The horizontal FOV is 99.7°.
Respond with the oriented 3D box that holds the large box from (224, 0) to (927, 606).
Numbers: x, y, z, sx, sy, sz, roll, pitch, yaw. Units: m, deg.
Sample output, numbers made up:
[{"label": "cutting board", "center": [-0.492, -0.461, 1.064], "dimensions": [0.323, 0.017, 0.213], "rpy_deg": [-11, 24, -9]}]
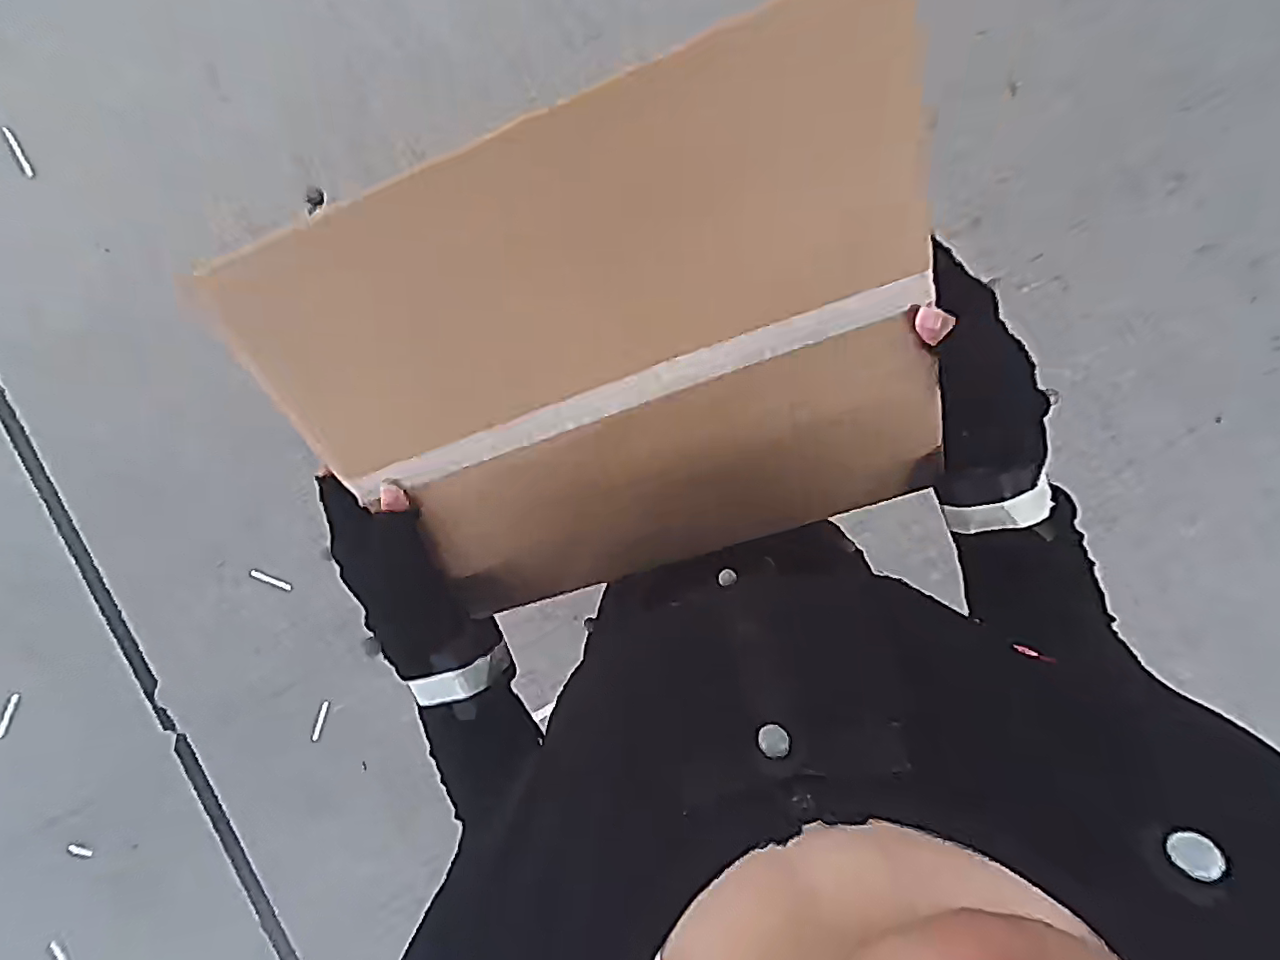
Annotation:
[{"label": "large box", "center": [-0.023, -0.147, 0.490], "dimensions": [0.408, 0.320, 0.320], "rpy_deg": [-18, 126, 10]}]
